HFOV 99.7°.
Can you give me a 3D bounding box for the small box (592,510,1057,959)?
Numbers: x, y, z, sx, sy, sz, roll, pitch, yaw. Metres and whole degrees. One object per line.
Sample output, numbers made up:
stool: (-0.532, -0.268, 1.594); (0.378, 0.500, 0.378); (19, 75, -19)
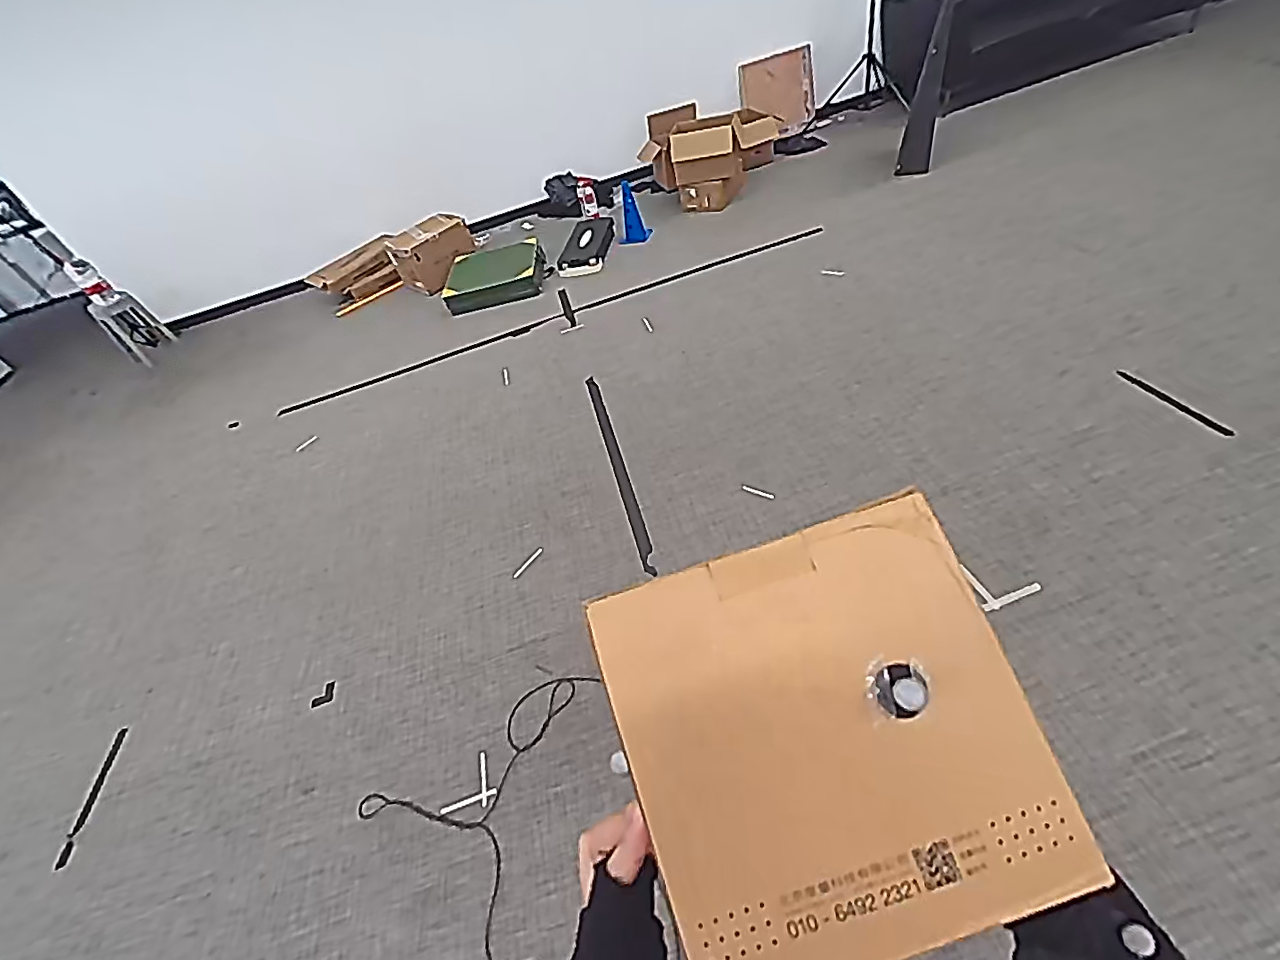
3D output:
small box: (0.086, 0.136, 0.320); (0.168, 0.179, 0.176); (-19, 75, 1)
